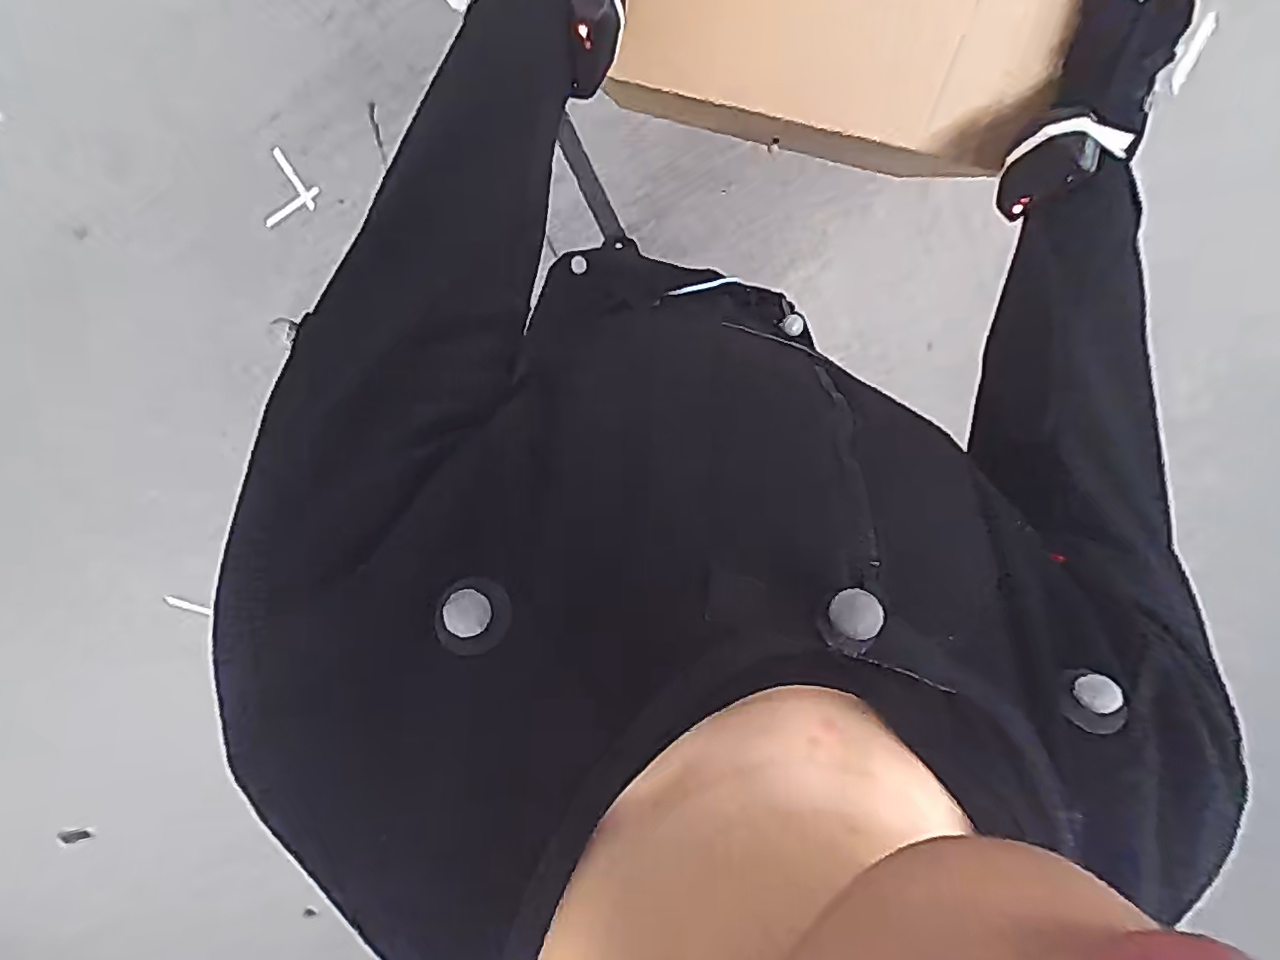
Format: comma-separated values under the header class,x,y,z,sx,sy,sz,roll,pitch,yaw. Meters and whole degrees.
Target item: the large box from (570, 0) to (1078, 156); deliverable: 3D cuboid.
class,x,y,z,sx,sy,sz,roll,pitch,yaw
large box,0.174,-0.529,0.526,0.408,0.320,0.320,12,119,-1
